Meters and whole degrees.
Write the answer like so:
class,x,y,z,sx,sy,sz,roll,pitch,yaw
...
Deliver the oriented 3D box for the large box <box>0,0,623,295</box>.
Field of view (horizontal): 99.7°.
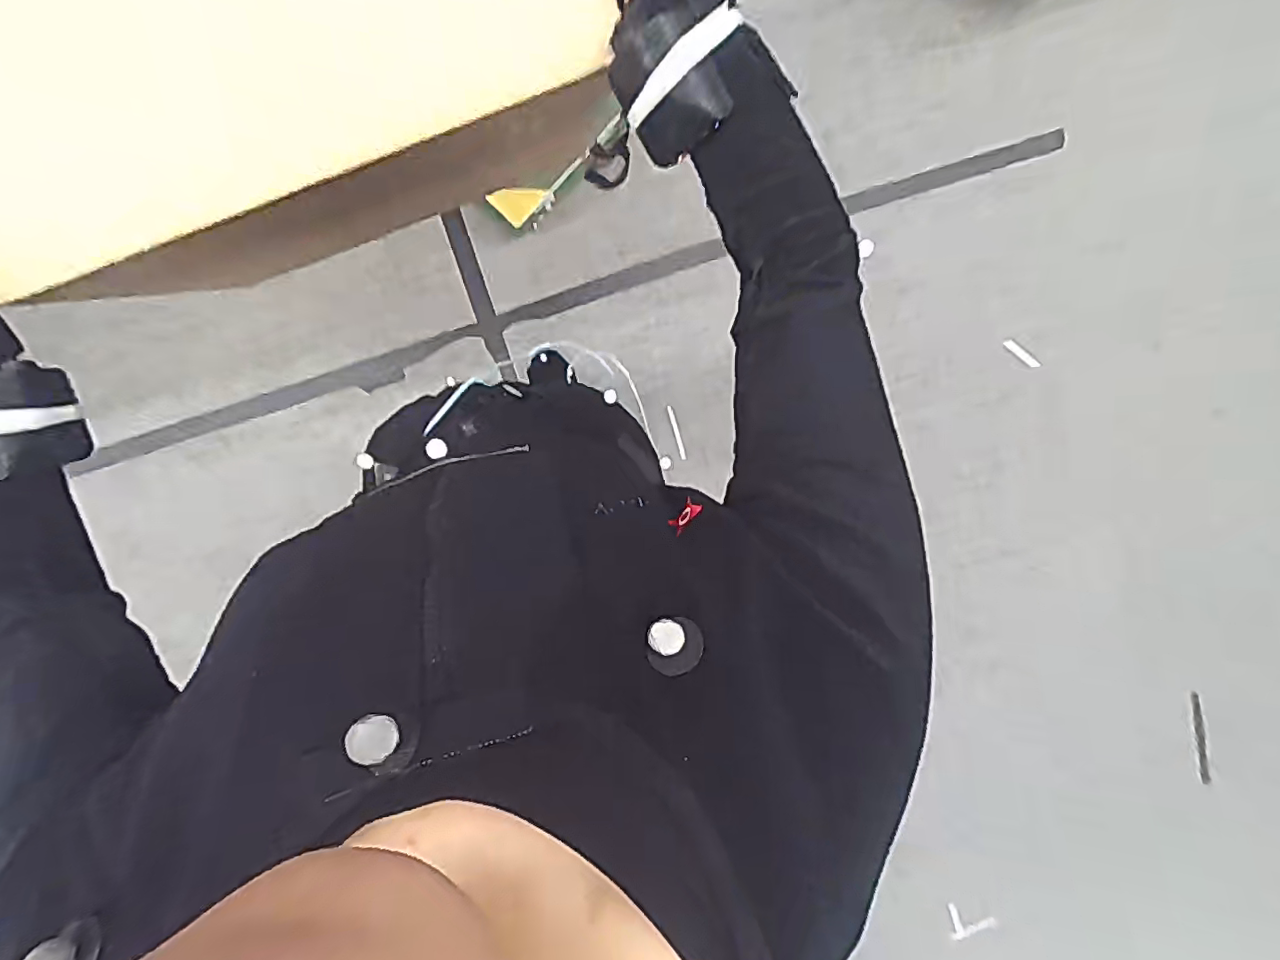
class,x,y,z,sx,sy,sz,roll,pitch,yaw
large box,-0.270,-0.368,0.412,0.408,0.320,0.320,-23,114,-2
